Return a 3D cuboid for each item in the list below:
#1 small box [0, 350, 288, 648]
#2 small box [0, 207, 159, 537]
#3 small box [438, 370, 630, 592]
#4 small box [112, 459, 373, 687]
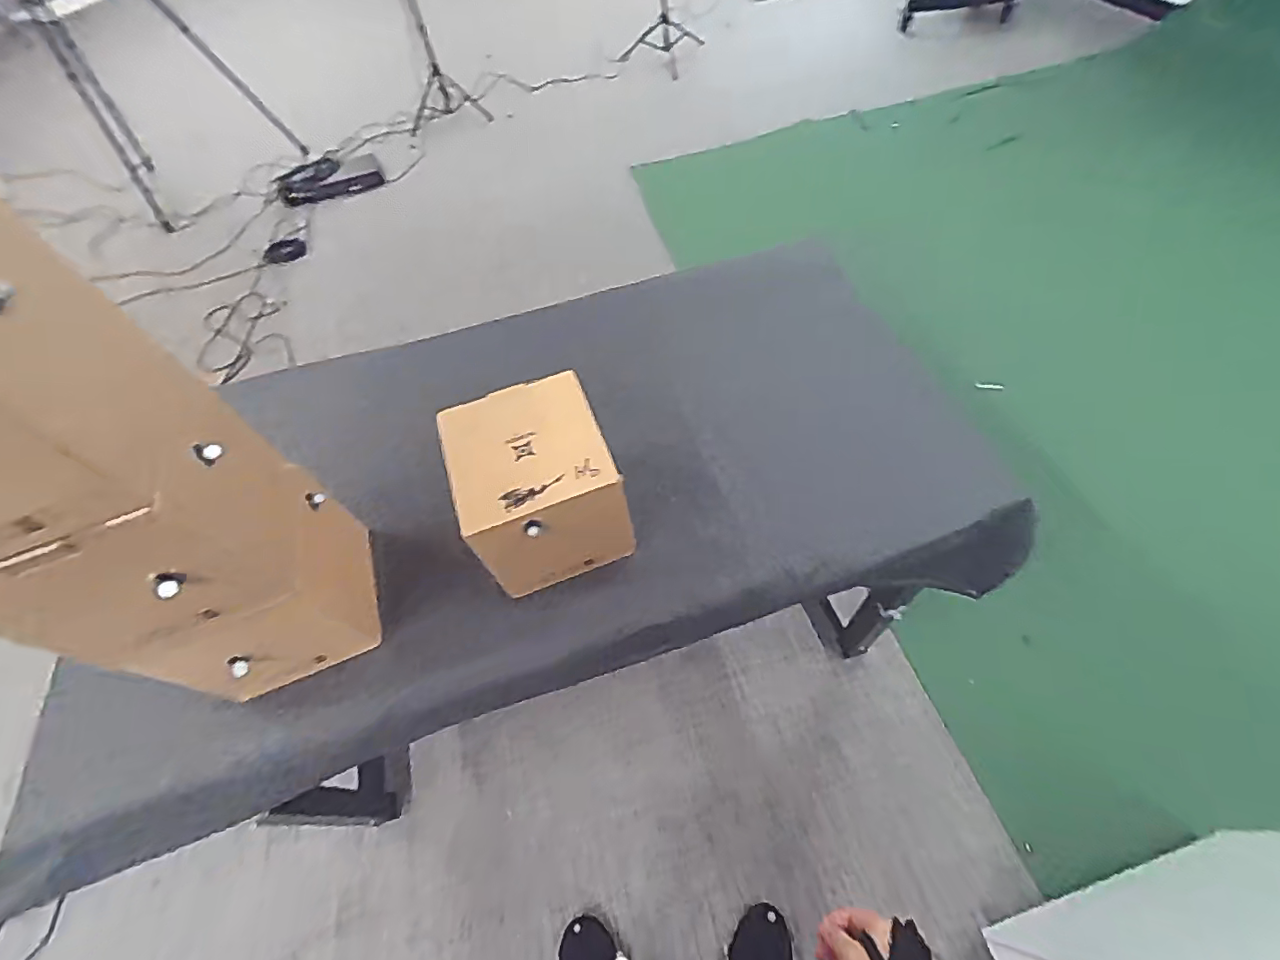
[{"bbox_3d":[-0.437,0.026,0.469,0.168,0.176,0.179,-22,56,-10],"label":"small box"},{"bbox_3d":[-0.450,-0.066,0.334,0.168,0.176,0.179,-23,56,-11],"label":"small box"},{"bbox_3d":[-0.121,0.005,0.648,0.168,0.176,0.179,-20,56,-7],"label":"small box"},{"bbox_3d":[-0.423,0.113,0.606,0.168,0.176,0.179,-21,57,-9],"label":"small box"}]
